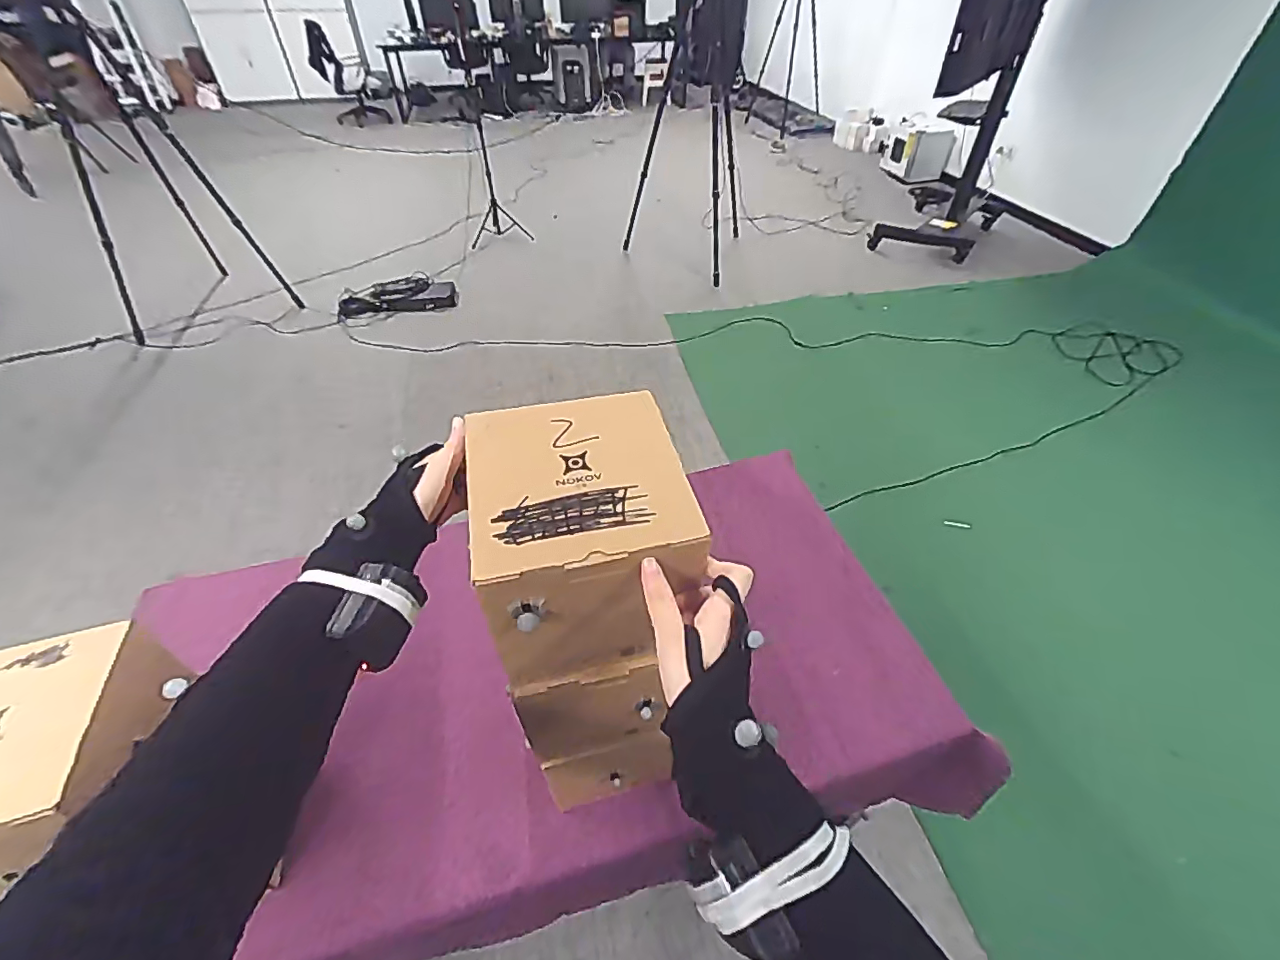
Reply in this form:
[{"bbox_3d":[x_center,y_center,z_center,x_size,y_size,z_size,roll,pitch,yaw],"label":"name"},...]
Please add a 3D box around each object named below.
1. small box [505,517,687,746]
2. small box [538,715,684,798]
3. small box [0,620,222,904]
[{"bbox_3d":[-0.049,0.171,0.595,0.168,0.176,0.179,-9,45,-8],"label":"small box"},{"bbox_3d":[-0.045,0.291,0.707,0.168,0.176,0.179,-10,45,-10],"label":"small box"},{"bbox_3d":[-0.540,0.268,0.510,0.168,0.176,0.179,-13,46,-13],"label":"small box"}]
